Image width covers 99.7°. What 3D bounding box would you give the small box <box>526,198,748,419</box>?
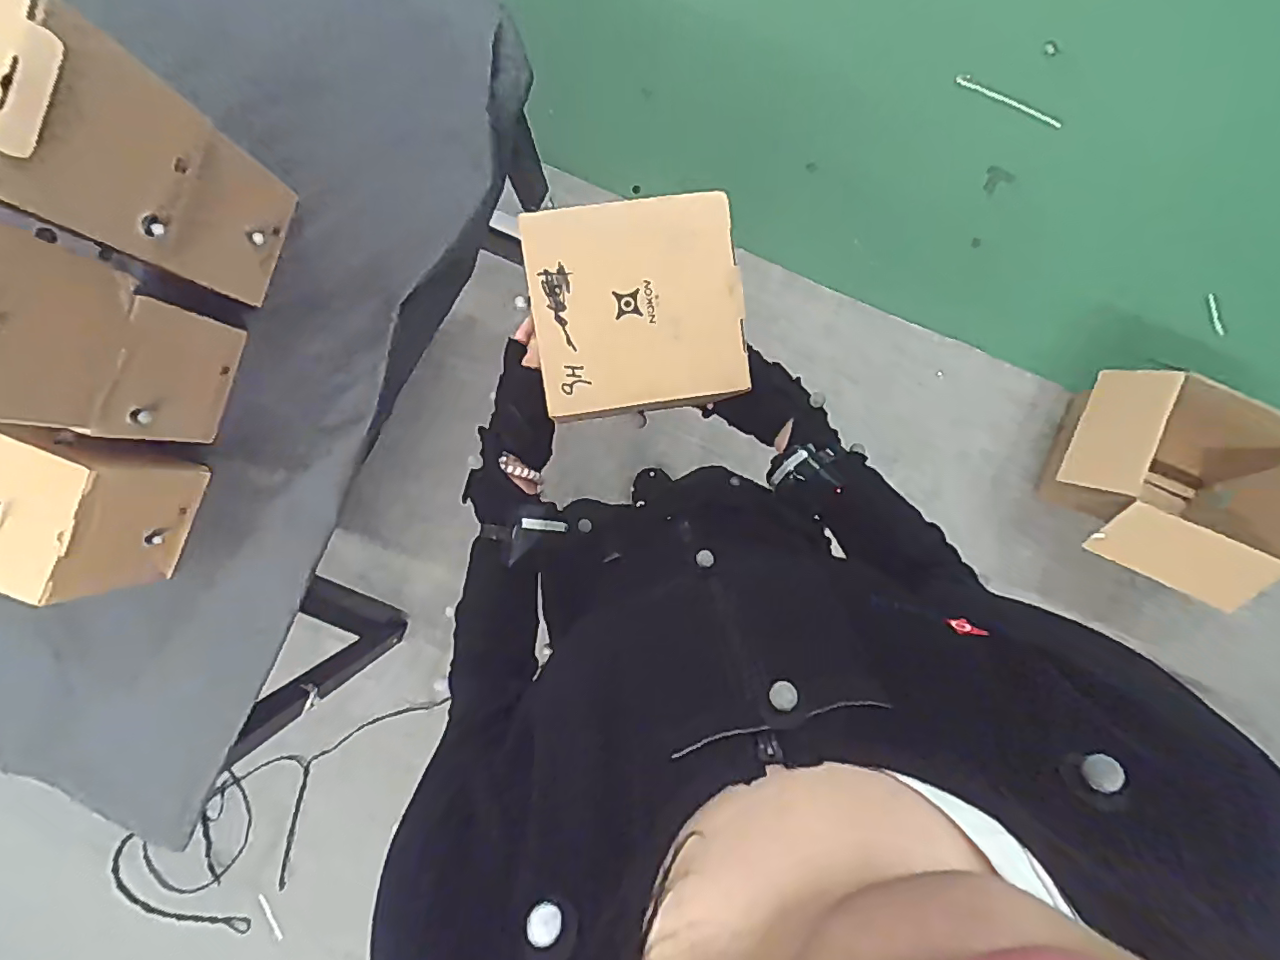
[{"bbox_3d":[-0.009,-0.153,0.531,0.179,0.176,0.168,-7,94,-6],"label":"small box"}]
